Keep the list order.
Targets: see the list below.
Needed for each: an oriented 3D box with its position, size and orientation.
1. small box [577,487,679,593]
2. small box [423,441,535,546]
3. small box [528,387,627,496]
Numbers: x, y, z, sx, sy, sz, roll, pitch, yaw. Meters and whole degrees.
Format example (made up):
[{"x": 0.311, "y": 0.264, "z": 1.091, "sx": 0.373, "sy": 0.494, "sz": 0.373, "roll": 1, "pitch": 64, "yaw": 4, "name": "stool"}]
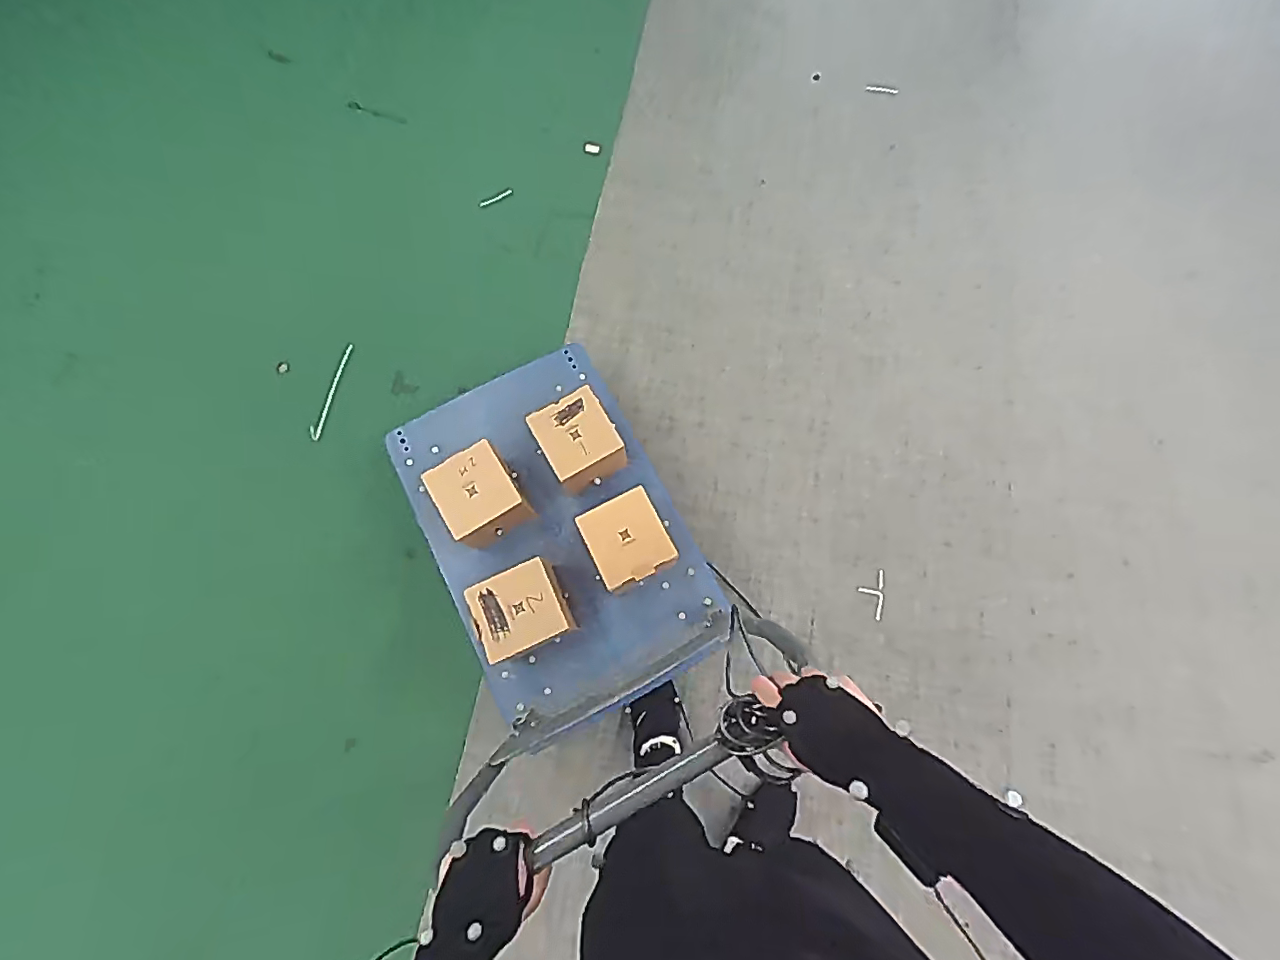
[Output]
[{"x": -0.027, "y": 0.142, "z": 1.227, "sx": 0.168, "sy": 0.176, "sz": 0.179, "roll": -27, "pitch": 77, "yaw": -6, "name": "small box"}, {"x": -0.365, "y": 0.041, "z": 1.258, "sx": 0.168, "sy": 0.176, "sz": 0.179, "roll": -31, "pitch": 77, "yaw": -8, "name": "small box"}, {"x": -0.143, "y": -0.085, "z": 1.288, "sx": 0.168, "sy": 0.176, "sz": 0.179, "roll": -30, "pitch": 77, "yaw": -6, "name": "small box"}]
